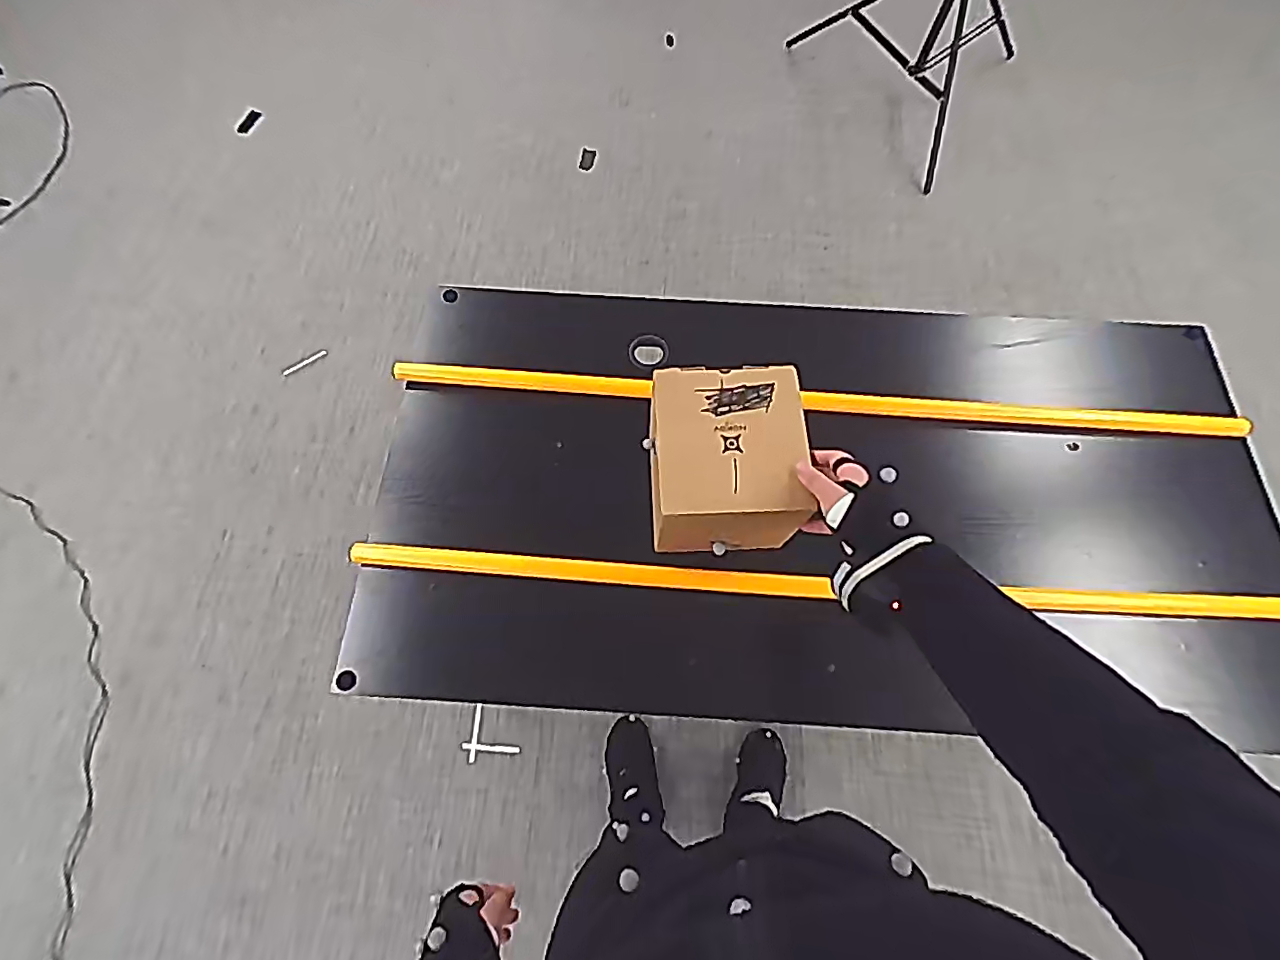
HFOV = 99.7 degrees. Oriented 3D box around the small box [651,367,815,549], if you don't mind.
[{"bbox_3d":[0.100,-0.020,0.670,0.168,0.176,0.179,-2,70,-1],"label":"small box"}]
